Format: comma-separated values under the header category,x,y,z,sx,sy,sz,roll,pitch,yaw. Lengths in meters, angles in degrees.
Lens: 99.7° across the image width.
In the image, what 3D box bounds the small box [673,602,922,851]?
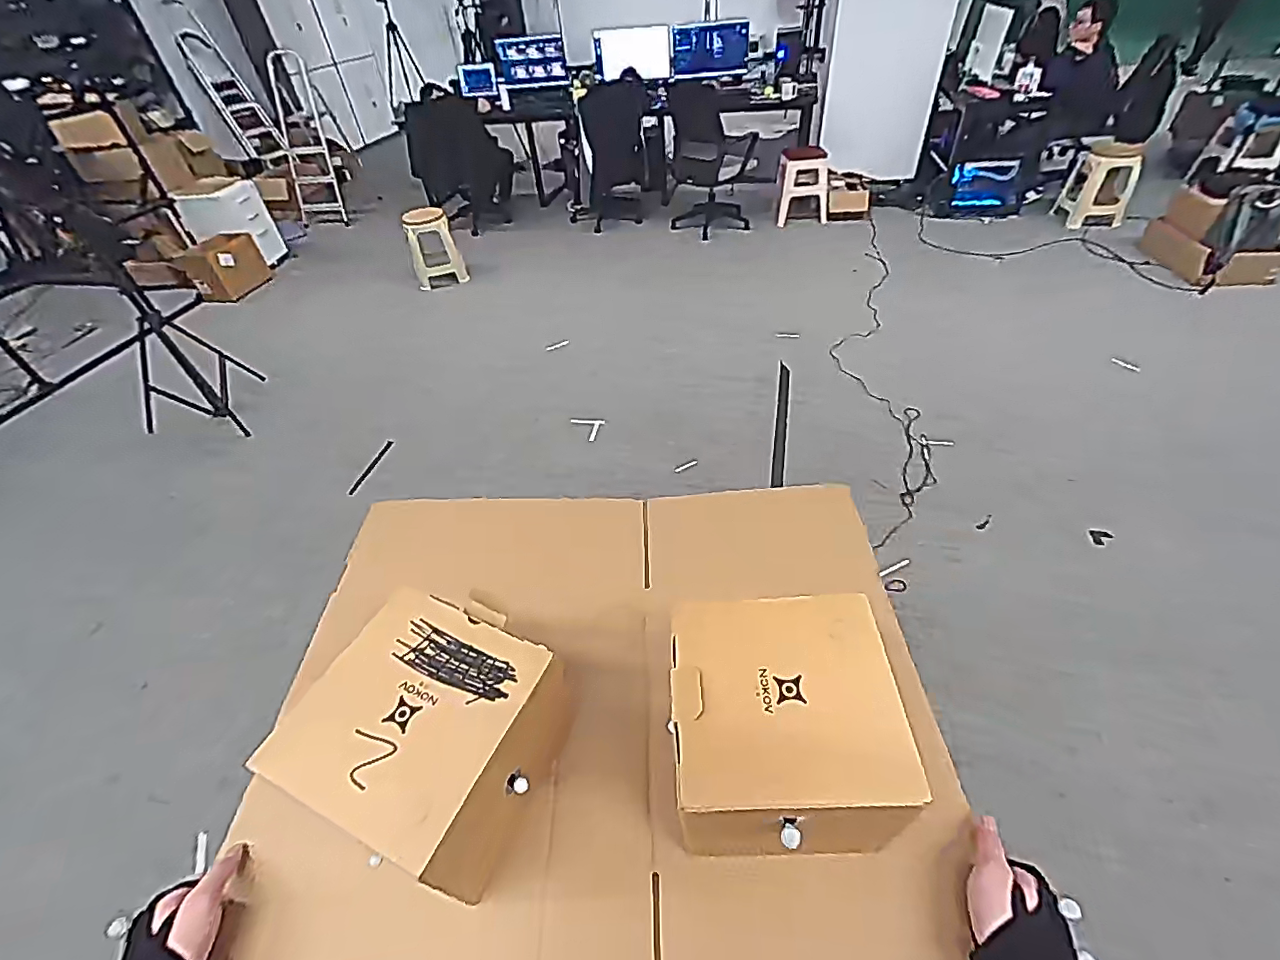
category,x,y,z,sx,sy,sz,roll,pitch,yaw
small box,0.124,0.230,0.501,0.179,0.176,0.168,-5,46,5
